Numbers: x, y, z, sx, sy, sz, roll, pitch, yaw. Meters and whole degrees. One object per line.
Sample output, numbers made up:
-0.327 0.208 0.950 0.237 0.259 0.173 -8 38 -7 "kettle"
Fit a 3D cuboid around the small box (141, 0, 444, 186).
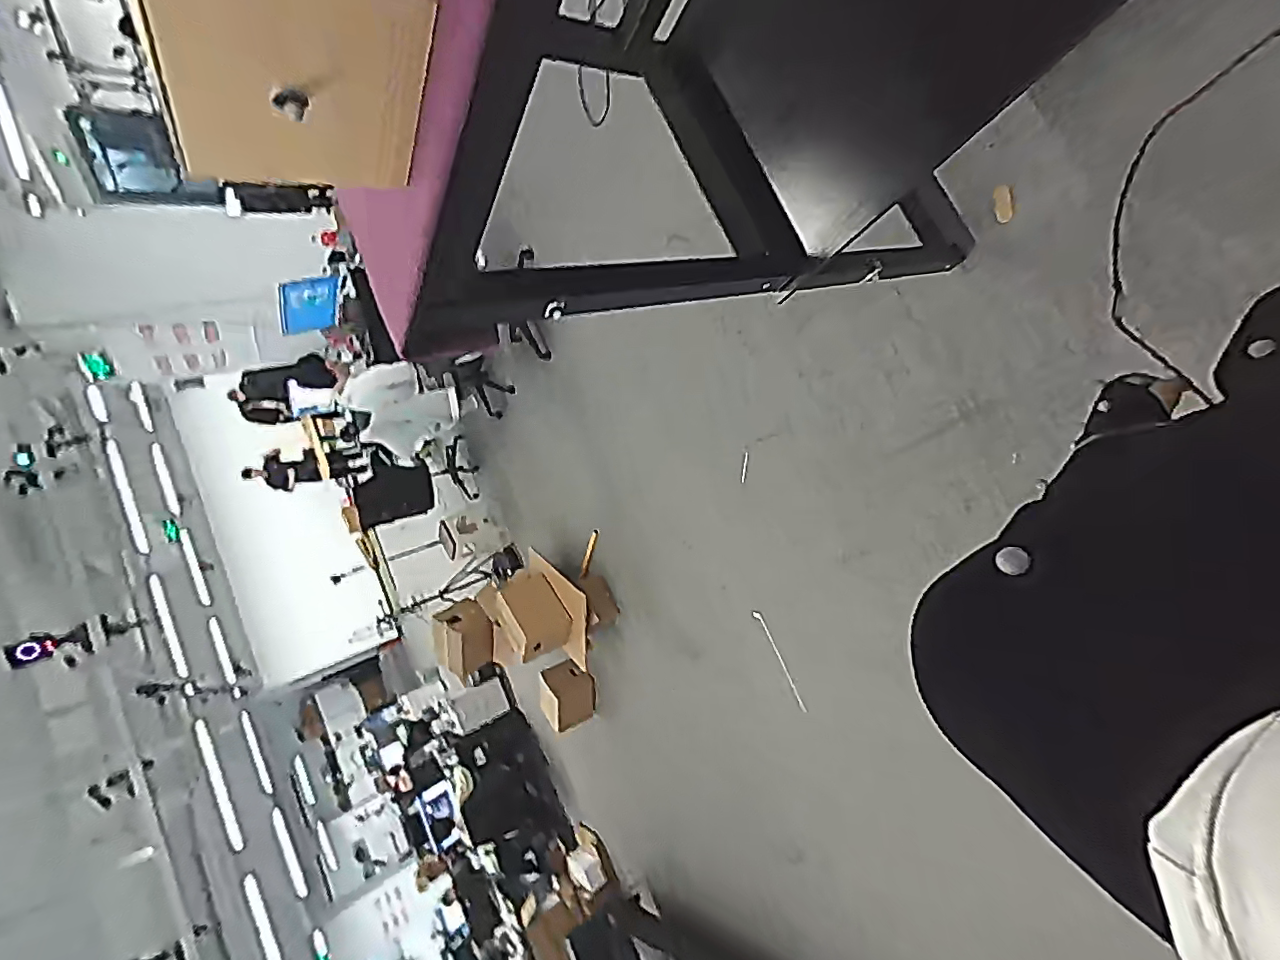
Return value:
-0.263 -0.354 0.408 0.179 0.176 0.168 -34 77 55 "small box"
